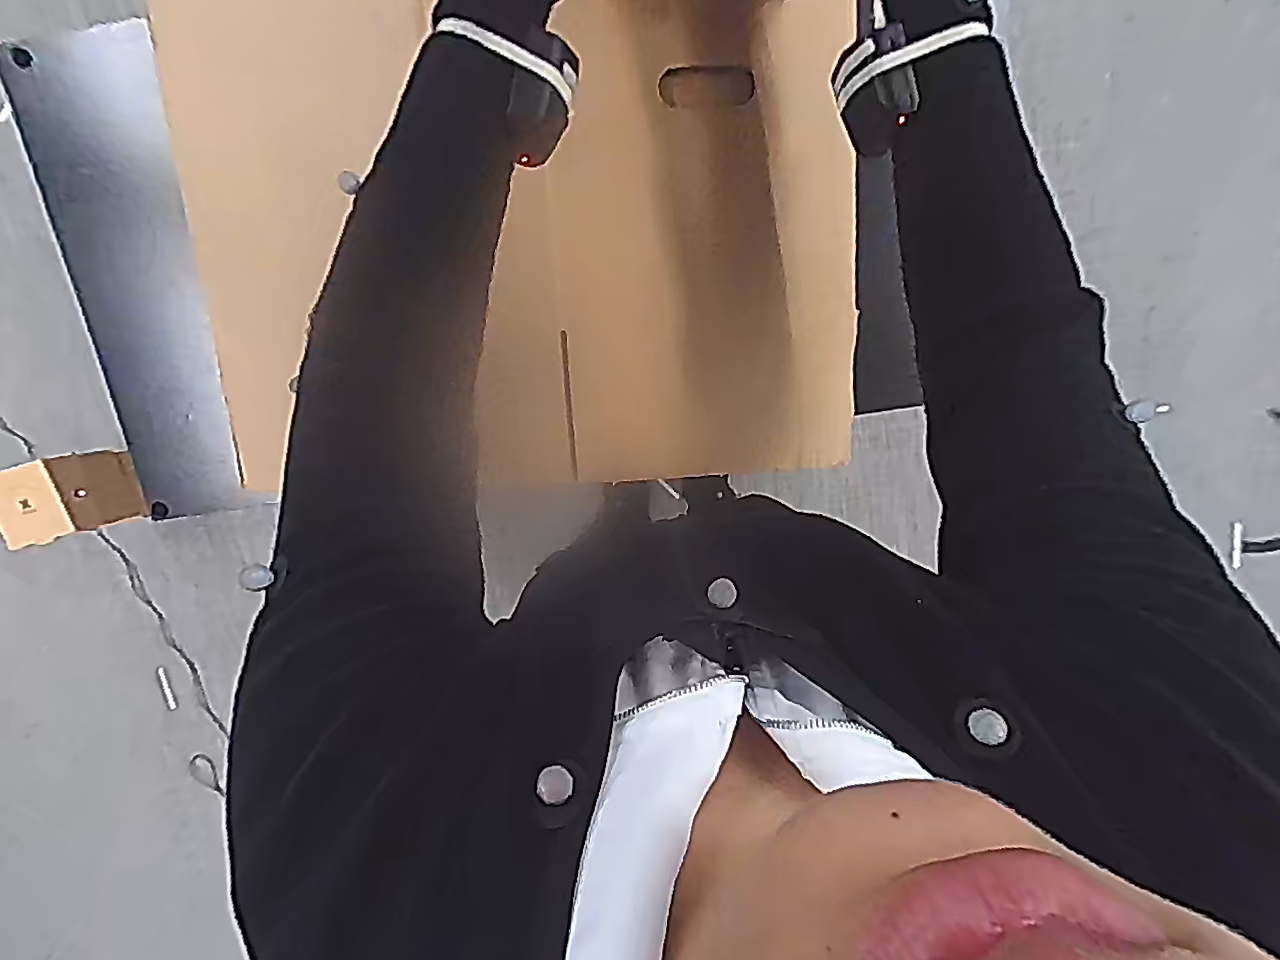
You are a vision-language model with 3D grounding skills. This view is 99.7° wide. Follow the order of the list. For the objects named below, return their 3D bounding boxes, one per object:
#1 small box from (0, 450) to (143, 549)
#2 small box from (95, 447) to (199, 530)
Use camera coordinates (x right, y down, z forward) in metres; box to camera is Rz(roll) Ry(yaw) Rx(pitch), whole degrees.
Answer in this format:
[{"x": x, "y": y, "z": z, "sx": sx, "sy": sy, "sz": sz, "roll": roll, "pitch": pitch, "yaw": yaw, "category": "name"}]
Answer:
[{"x": -1.344, "y": 0.041, "z": 1.276, "sx": 0.168, "sy": 0.176, "sz": 0.179, "roll": -15, "pitch": 100, "yaw": 3, "category": "small box"}, {"x": -1.340, "y": 0.015, "z": 1.437, "sx": 0.168, "sy": 0.176, "sz": 0.179, "roll": -13, "pitch": 101, "yaw": 4, "category": "small box"}]
